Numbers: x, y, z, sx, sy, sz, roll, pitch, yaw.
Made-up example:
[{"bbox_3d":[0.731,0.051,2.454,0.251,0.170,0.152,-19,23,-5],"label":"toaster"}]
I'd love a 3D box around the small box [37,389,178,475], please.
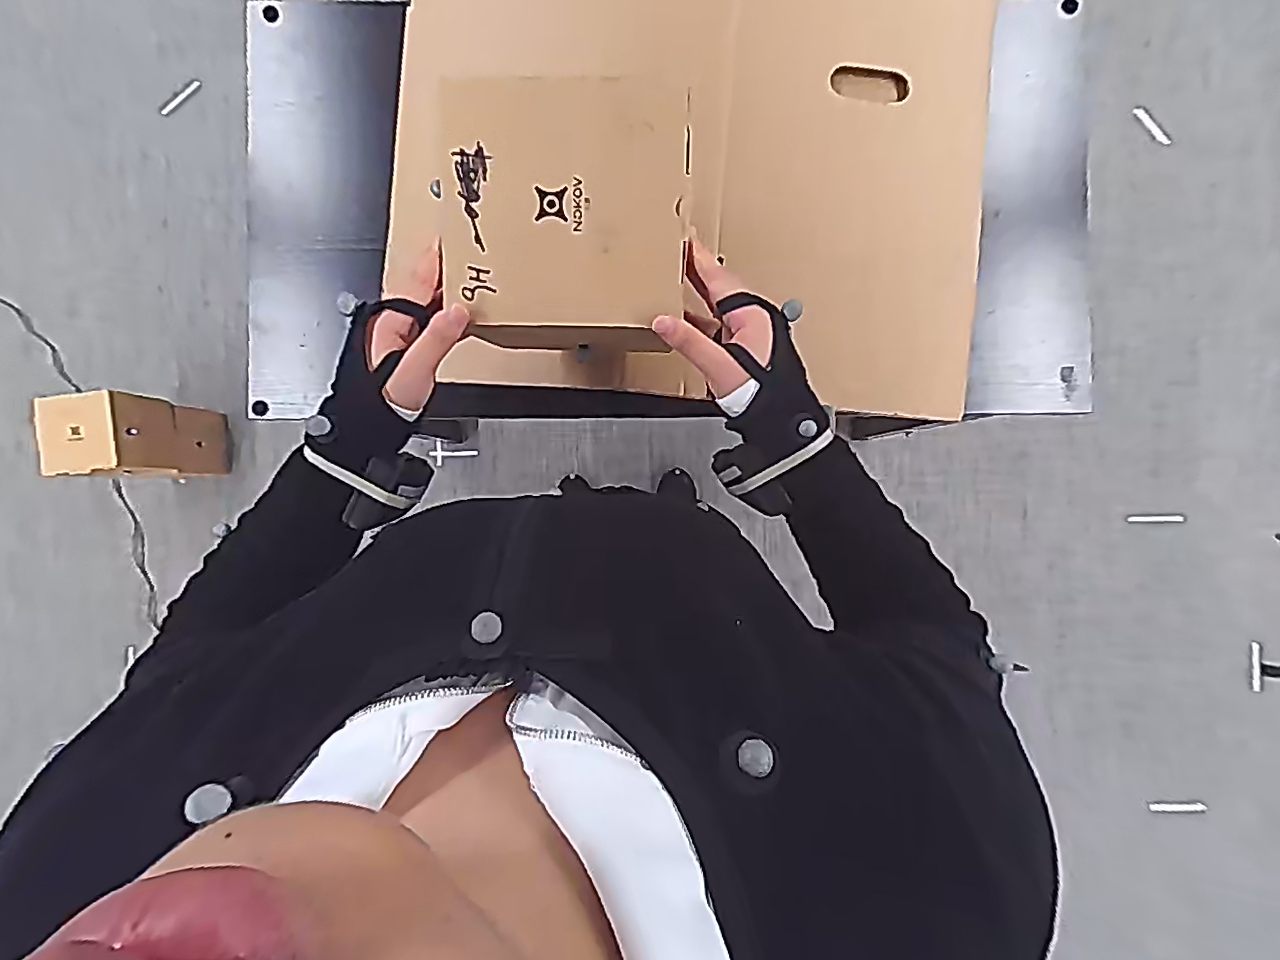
[{"bbox_3d":[-1.231,-0.105,1.263,0.168,0.176,0.179,-7,89,-1],"label":"small box"}]

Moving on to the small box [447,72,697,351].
[{"bbox_3d":[-0.051,-0.206,0.462,0.179,0.176,0.168,1,96,-1],"label":"small box"}]

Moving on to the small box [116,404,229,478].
[{"bbox_3d":[-1.231,-0.097,1.426,0.168,0.176,0.179,-5,90,0],"label":"small box"}]
